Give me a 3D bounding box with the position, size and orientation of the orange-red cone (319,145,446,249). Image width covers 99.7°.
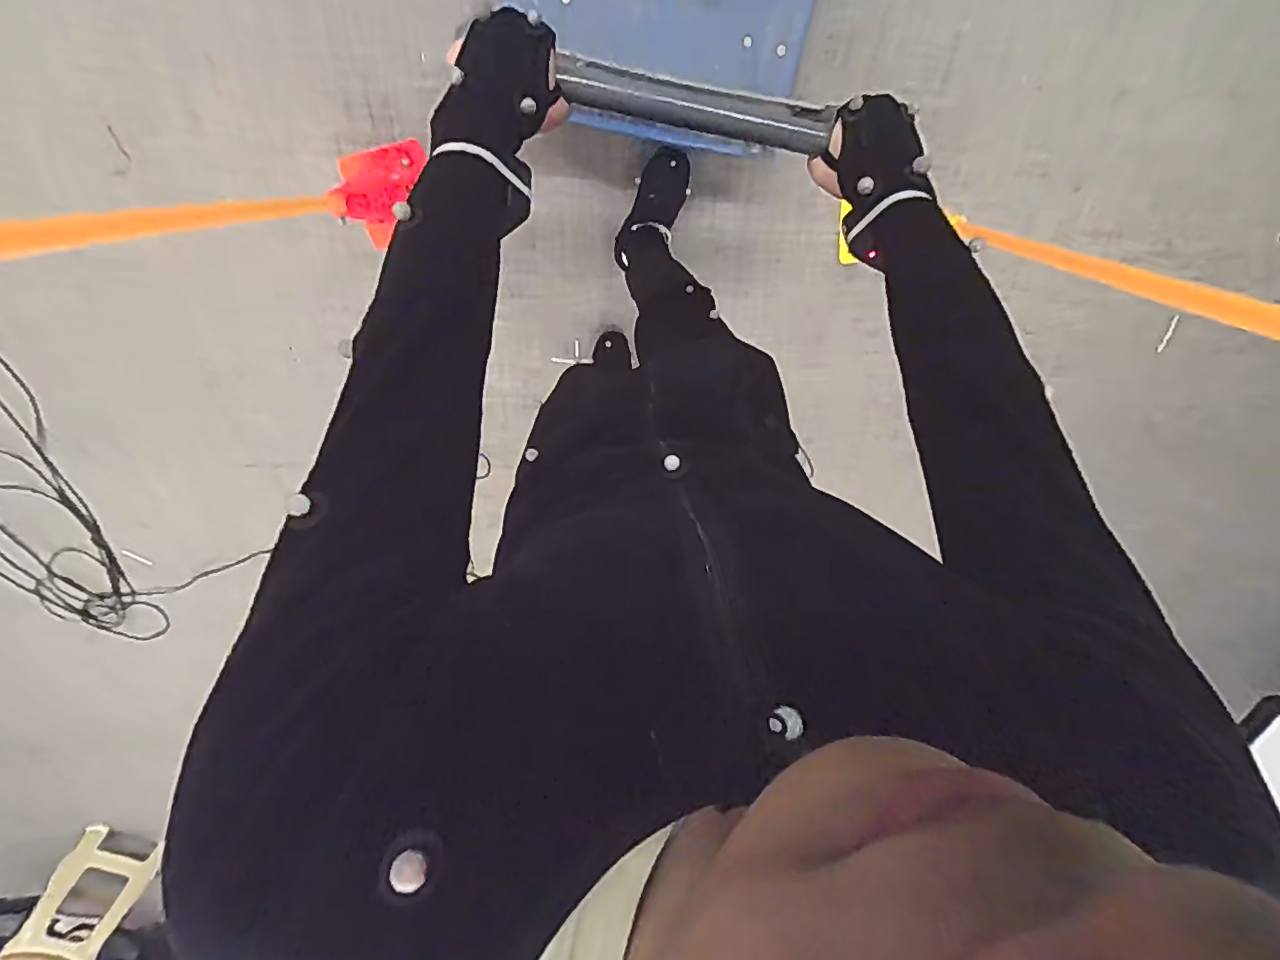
[{"bbox_3d":[-0.567,-0.577,1.120,0.199,0.360,0.198,-12,119,3],"label":"orange-red cone"}]
